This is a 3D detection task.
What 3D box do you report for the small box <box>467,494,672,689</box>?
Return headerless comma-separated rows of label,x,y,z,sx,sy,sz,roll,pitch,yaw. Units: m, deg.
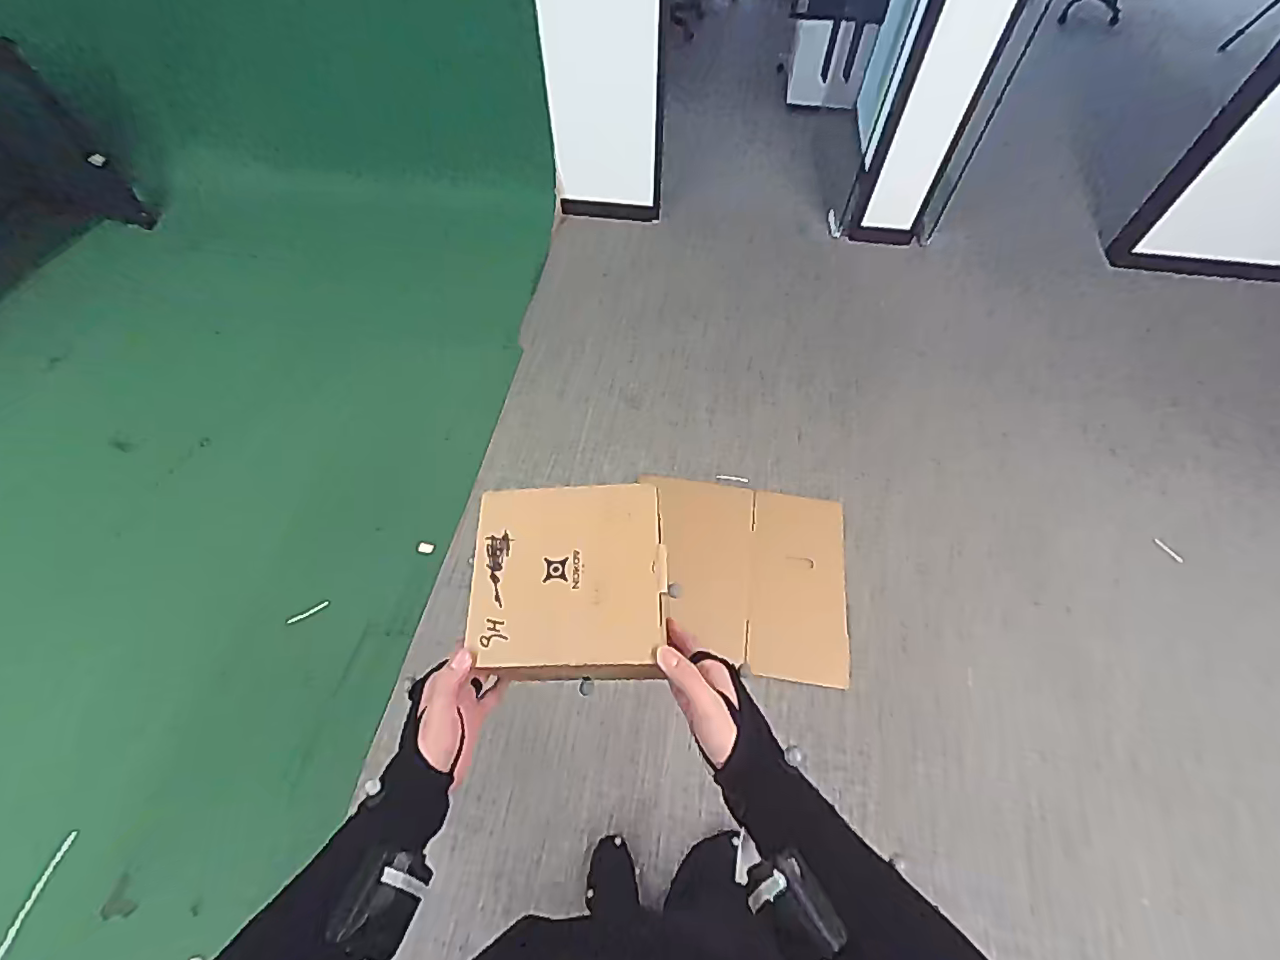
small box,-0.057,0.122,0.563,0.179,0.176,0.168,-2,64,3
